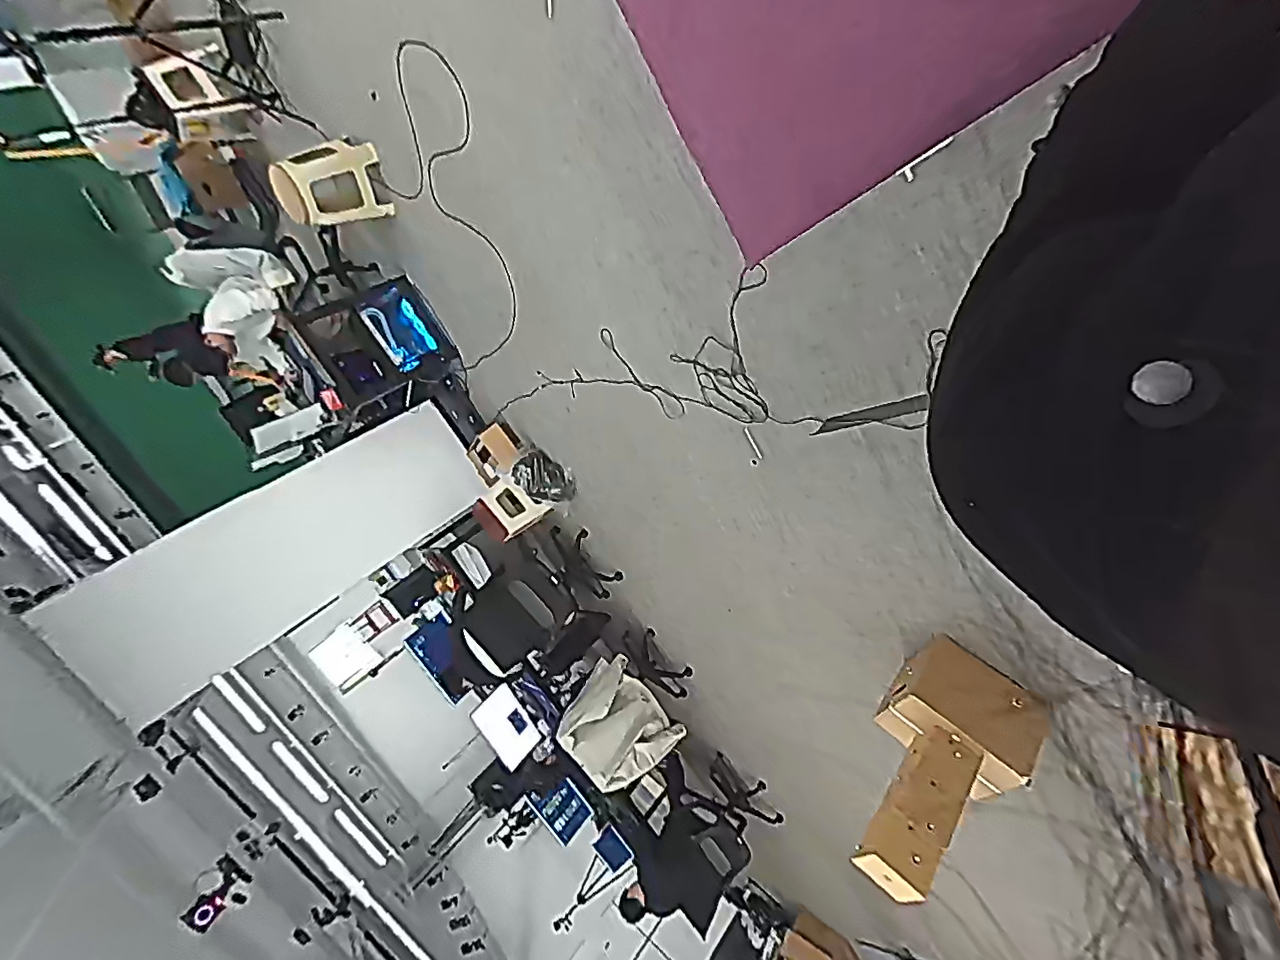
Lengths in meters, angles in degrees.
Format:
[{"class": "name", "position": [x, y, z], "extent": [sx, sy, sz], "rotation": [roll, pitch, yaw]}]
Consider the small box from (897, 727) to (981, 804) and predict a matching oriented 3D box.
[{"class": "small box", "position": [1.017, 0.978, 1.835], "extent": [0.168, 0.176, 0.179], "rotation": [36, 145, 22]}]

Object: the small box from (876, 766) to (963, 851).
[{"class": "small box", "position": [0.908, 1.068, 1.752], "extent": [0.168, 0.176, 0.179], "rotation": [36, 146, 22]}]

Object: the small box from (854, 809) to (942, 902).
[{"class": "small box", "position": [0.798, 1.152, 1.666], "extent": [0.168, 0.176, 0.179], "rotation": [36, 146, 22]}]
